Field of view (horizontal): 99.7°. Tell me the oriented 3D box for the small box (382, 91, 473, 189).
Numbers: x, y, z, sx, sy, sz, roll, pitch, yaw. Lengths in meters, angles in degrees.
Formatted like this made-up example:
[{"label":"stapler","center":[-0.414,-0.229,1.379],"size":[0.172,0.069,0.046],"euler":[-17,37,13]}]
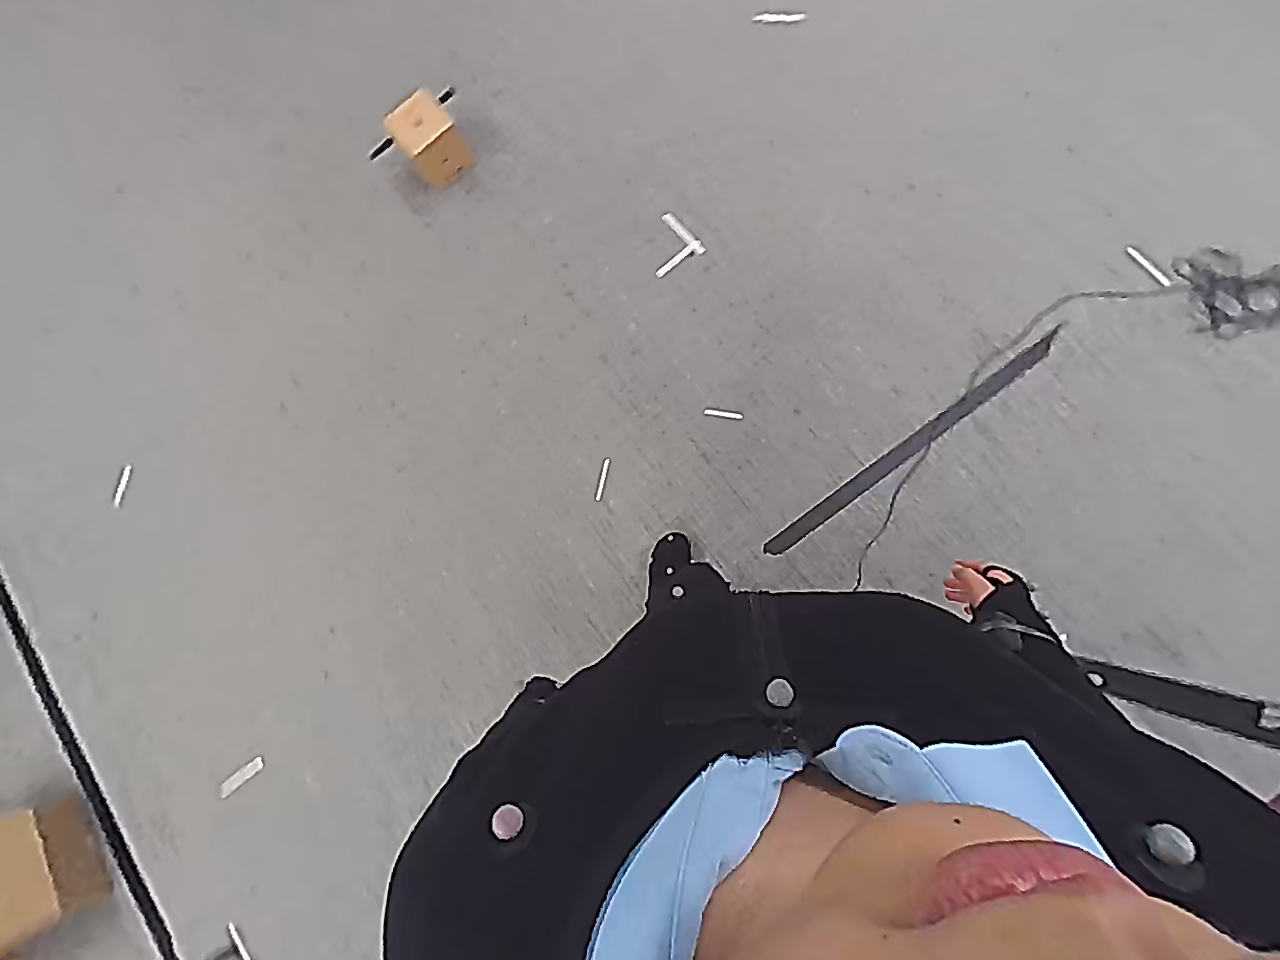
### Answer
[{"label":"small box","center":[-0.666,-1.066,1.715],"size":[0.168,0.176,0.179],"euler":[-40,79,0]}]
